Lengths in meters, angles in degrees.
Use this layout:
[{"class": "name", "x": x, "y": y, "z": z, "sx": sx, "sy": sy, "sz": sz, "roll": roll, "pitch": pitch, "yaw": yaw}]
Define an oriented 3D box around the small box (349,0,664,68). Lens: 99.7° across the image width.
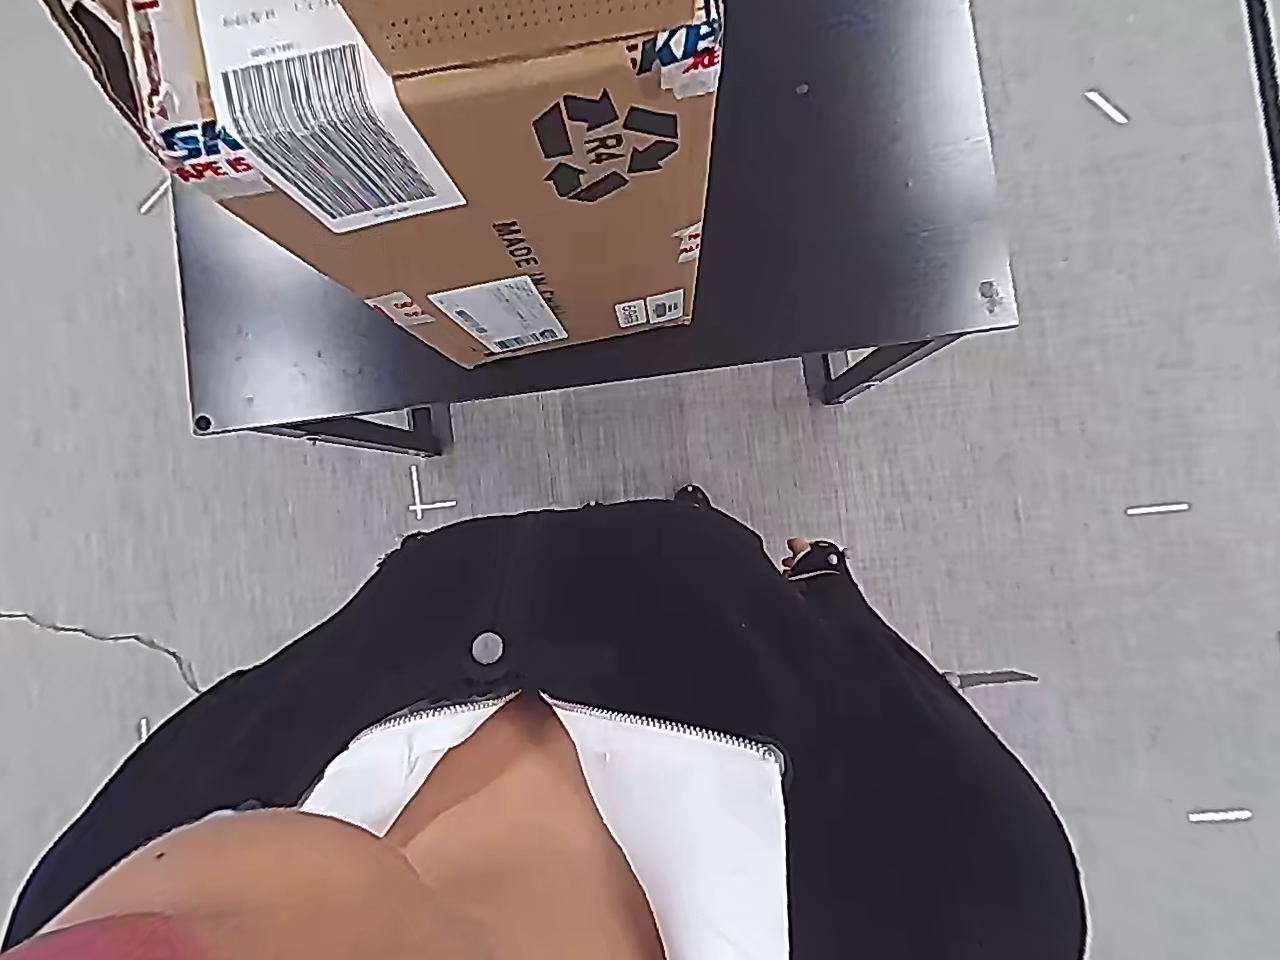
[{"class": "small box", "x": -0.069, "y": -0.322, "z": 0.225, "sx": 0.179, "sy": 0.176, "sz": 0.168, "roll": -9, "pitch": 87, "yaw": 2}]
